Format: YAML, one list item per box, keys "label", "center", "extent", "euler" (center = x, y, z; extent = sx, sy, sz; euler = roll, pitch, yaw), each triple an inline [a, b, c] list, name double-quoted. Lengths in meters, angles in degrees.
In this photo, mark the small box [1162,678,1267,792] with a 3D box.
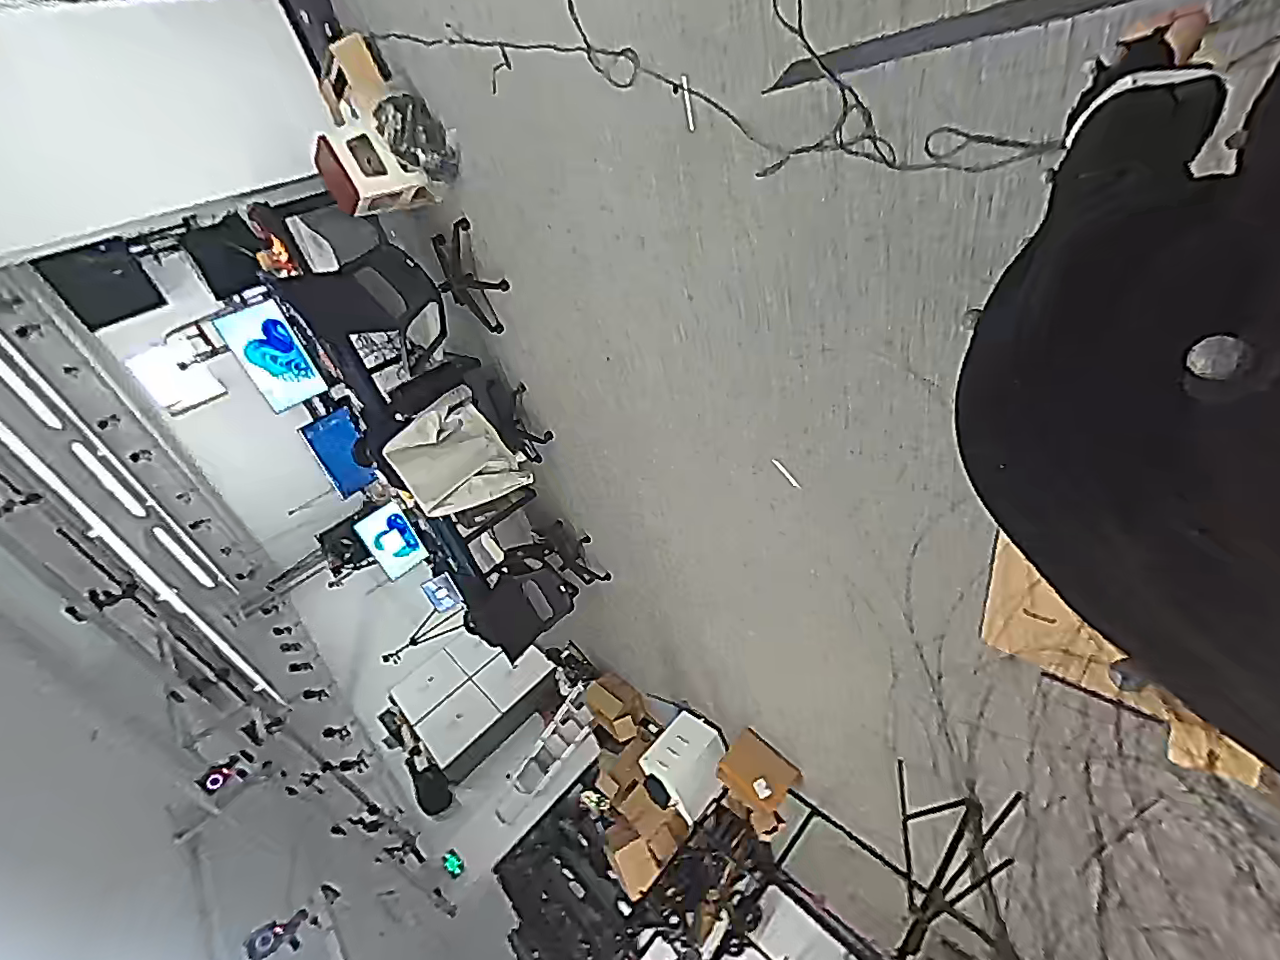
- label: "small box"
  center: [1.519, 0.667, 1.430]
  extent: [0.168, 0.176, 0.179]
  euler: [11, 131, 49]
